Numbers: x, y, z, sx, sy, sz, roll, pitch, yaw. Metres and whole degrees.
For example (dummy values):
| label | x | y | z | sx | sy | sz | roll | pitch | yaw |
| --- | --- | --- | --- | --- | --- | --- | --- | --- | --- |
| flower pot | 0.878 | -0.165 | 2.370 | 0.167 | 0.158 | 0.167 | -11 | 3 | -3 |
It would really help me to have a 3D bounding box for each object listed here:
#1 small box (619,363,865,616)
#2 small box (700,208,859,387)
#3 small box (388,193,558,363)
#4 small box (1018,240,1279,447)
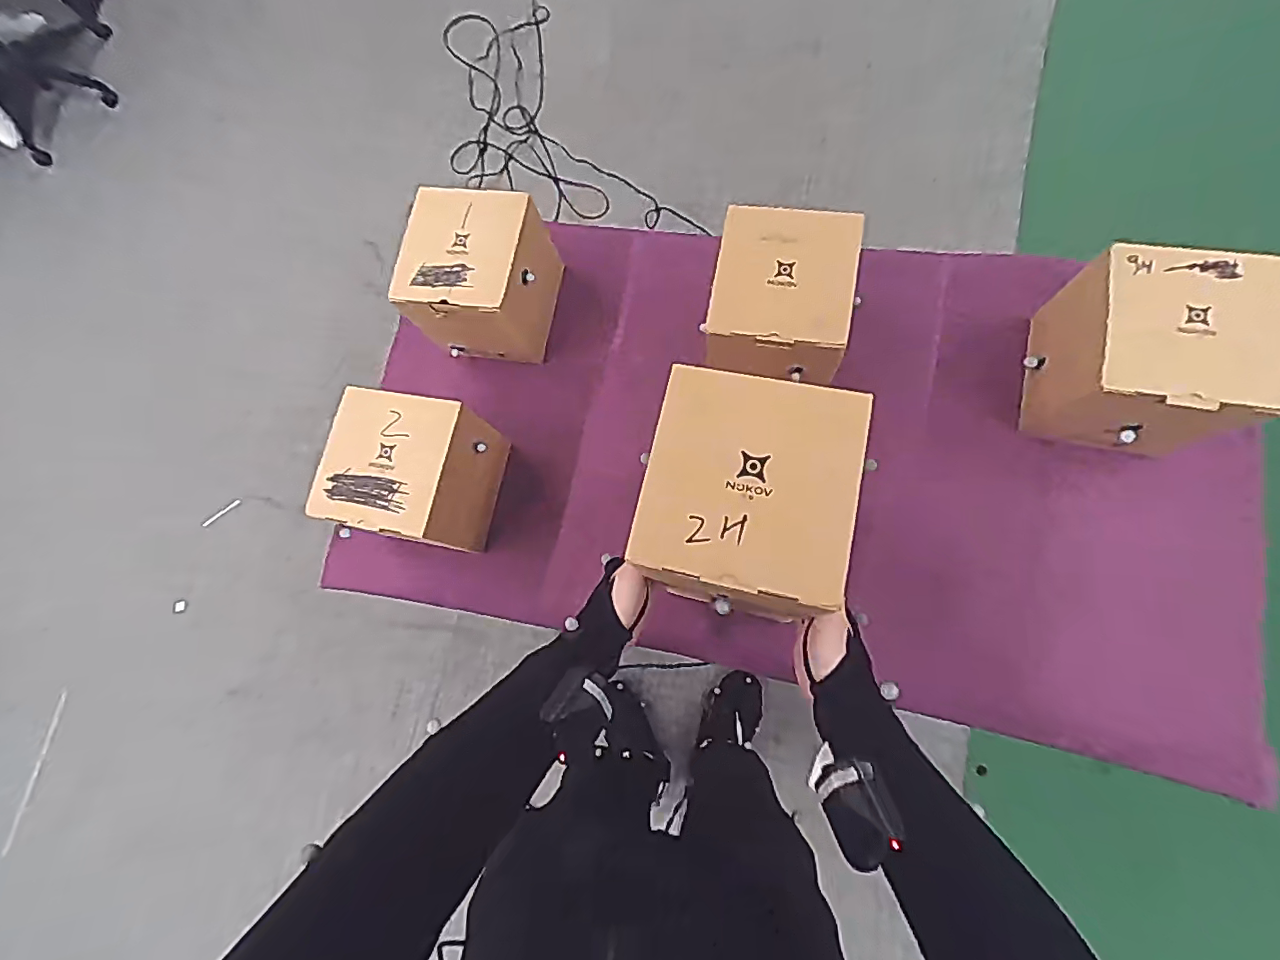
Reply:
| label | x | y | z | sx | sy | sz | roll | pitch | yaw |
| --- | --- | --- | --- | --- | --- | --- | --- | --- | --- |
| small box | 0.092 | 0.019 | 0.500 | 0.168 | 0.176 | 0.179 | 11 | 76 | 12 |
| small box | 0.179 | -0.227 | 0.721 | 0.168 | 0.176 | 0.179 | 9 | 79 | 11 |
| small box | -0.233 | -0.289 | 0.800 | 0.168 | 0.176 | 0.179 | 8 | 79 | 11 |
| small box | 0.579 | -0.148 | 0.635 | 0.168 | 0.176 | 0.179 | 11 | 81 | 12 |
